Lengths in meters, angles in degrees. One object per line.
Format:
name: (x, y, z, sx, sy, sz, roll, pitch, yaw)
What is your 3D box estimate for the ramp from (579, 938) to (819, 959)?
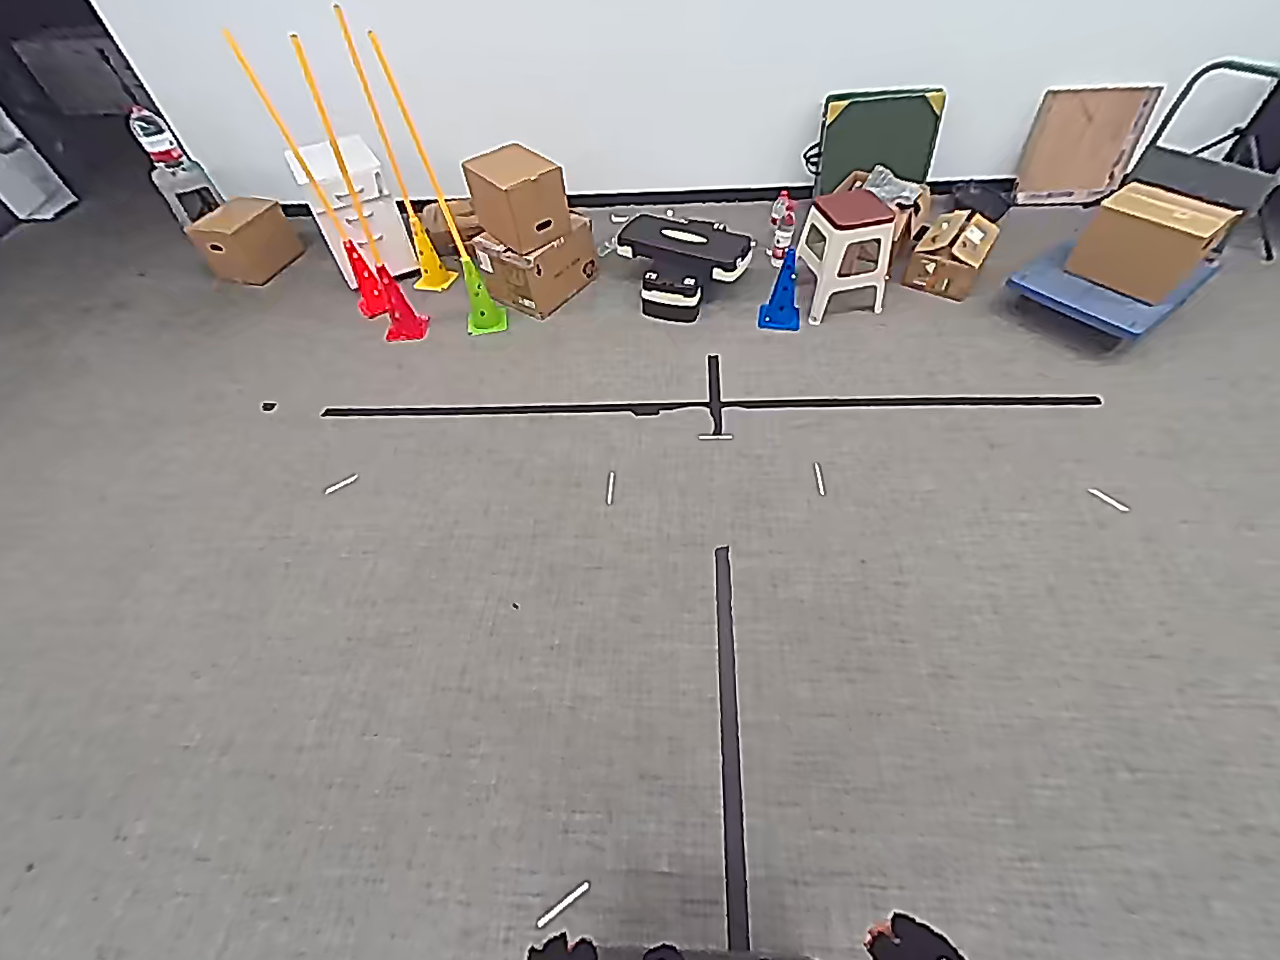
ramp: (0.110, 1.387, 0.870, 0.509, 0.206, 0.991, -1, 51, 2)
